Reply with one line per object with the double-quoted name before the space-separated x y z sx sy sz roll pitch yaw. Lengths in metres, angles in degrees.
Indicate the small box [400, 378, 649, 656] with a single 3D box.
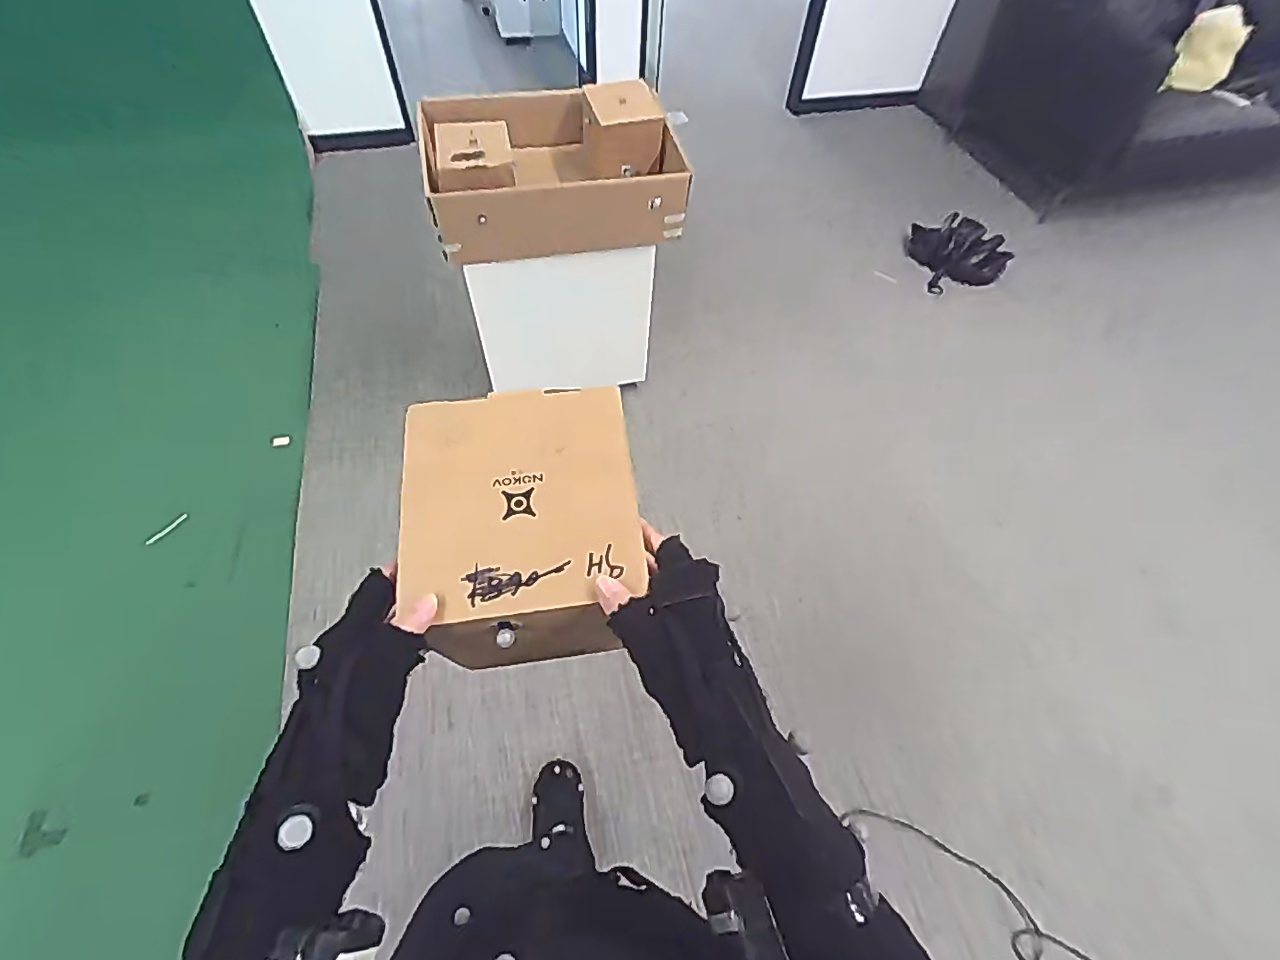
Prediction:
"small box" -0.087 0.039 0.465 0.168 0.176 0.179 -7 63 -4
